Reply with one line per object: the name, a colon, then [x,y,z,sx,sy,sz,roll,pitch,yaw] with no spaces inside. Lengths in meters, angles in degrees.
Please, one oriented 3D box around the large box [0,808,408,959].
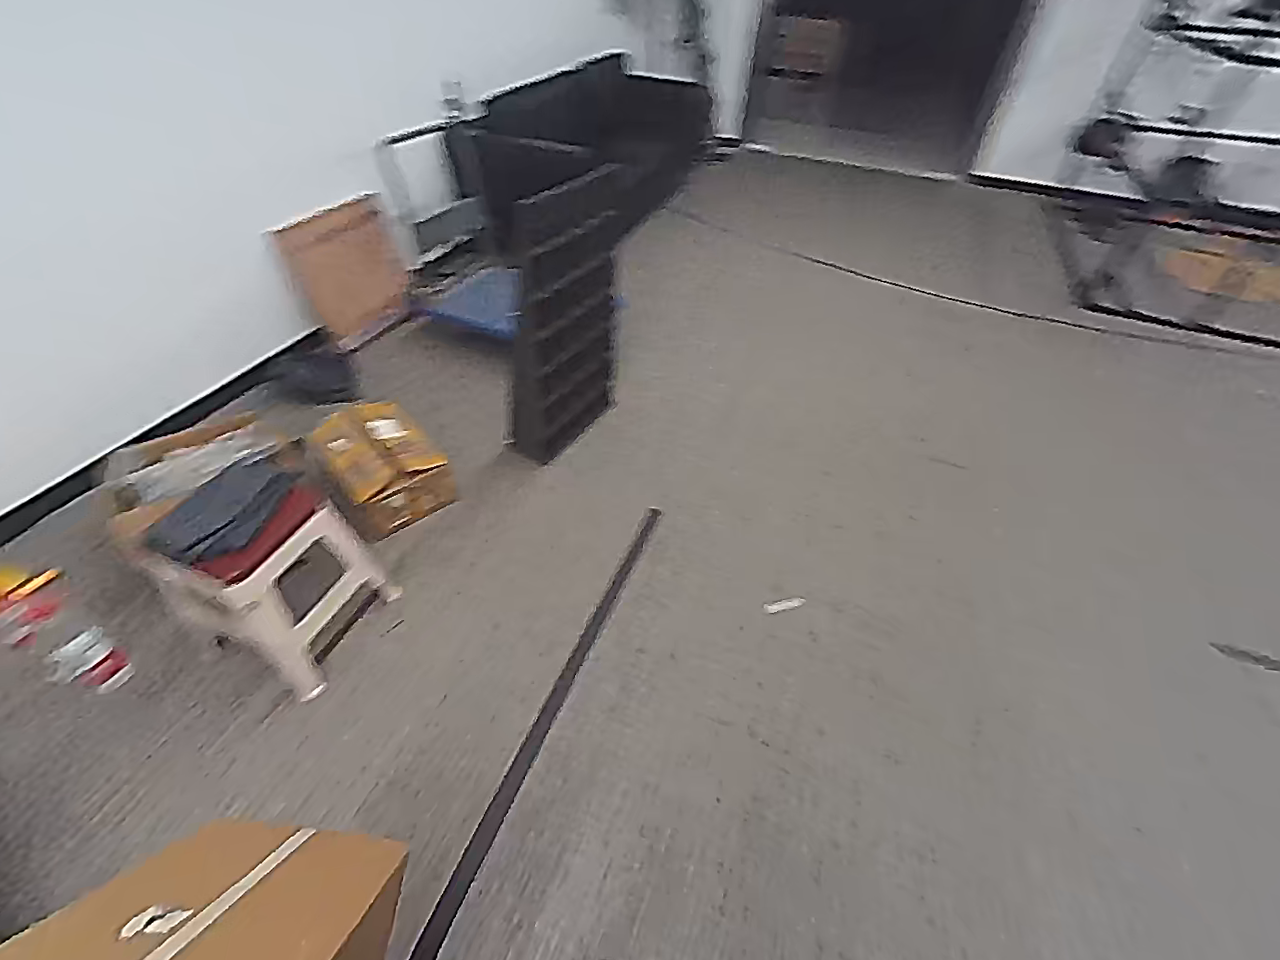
large box: [-0.535,0.668,0.651,0.320,0.408,0.320,11,79,-2]
